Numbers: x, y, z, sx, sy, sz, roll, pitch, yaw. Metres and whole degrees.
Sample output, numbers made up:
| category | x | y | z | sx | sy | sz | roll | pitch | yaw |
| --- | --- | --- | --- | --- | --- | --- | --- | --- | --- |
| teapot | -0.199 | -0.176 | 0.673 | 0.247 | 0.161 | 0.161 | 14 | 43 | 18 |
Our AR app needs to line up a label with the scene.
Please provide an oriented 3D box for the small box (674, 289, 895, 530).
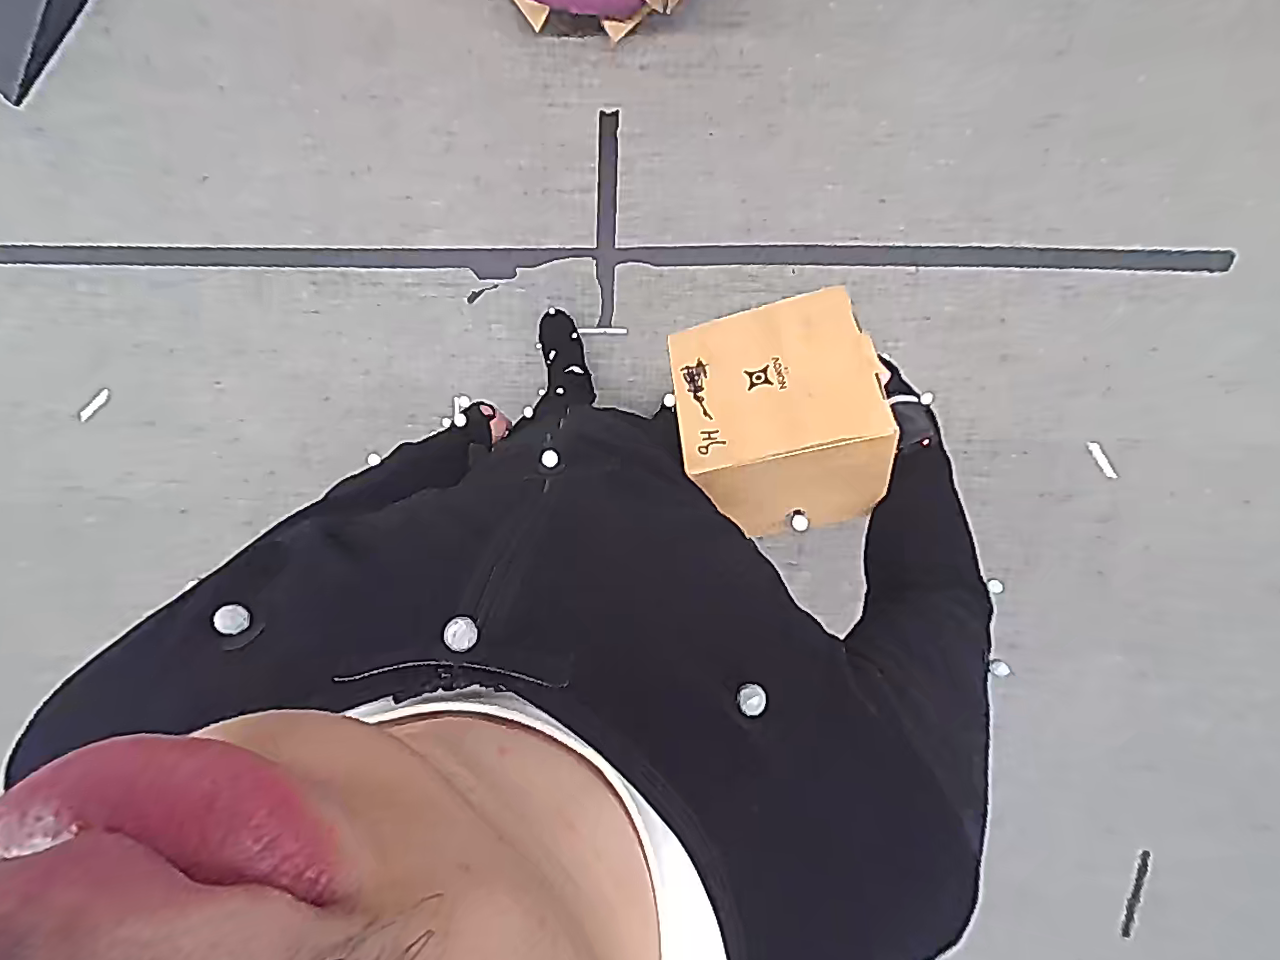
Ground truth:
| category | x | y | z | sx | sy | sz | roll | pitch | yaw |
| --- | --- | --- | --- | --- | --- | --- | --- | --- | --- |
| small box | 0.144 | -0.062 | 0.567 | 0.179 | 0.176 | 0.168 | -11 | 60 | 12 |
